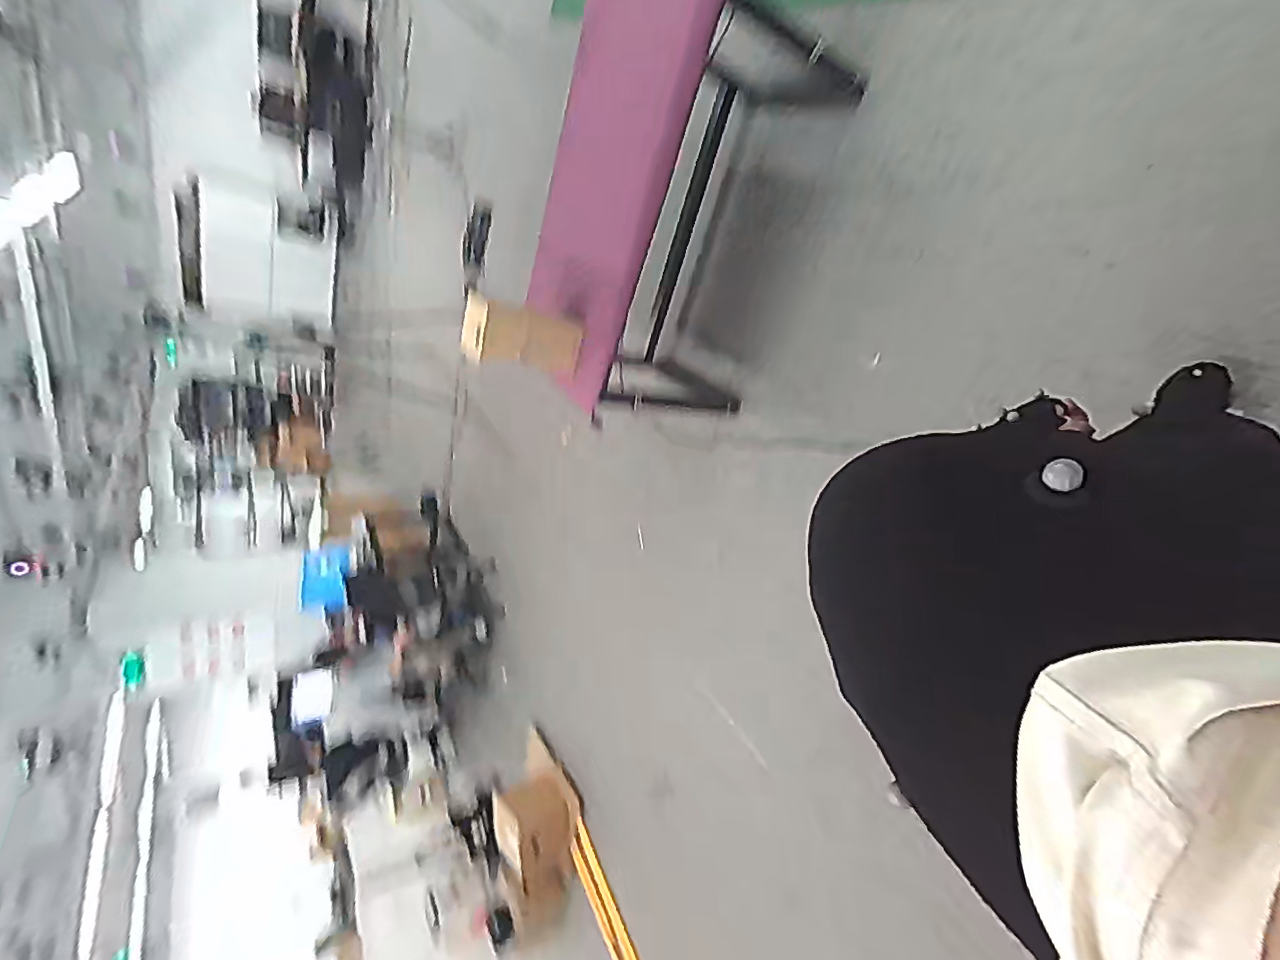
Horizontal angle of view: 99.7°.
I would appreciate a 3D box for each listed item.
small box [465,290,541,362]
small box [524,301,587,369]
[{"bbox_3d":[-0.430,-0.479,1.697,0.179,0.176,0.168,43,123,44],"label":"small box"},{"bbox_3d":[-0.301,-0.479,1.799,0.179,0.176,0.168,43,123,44],"label":"small box"}]
